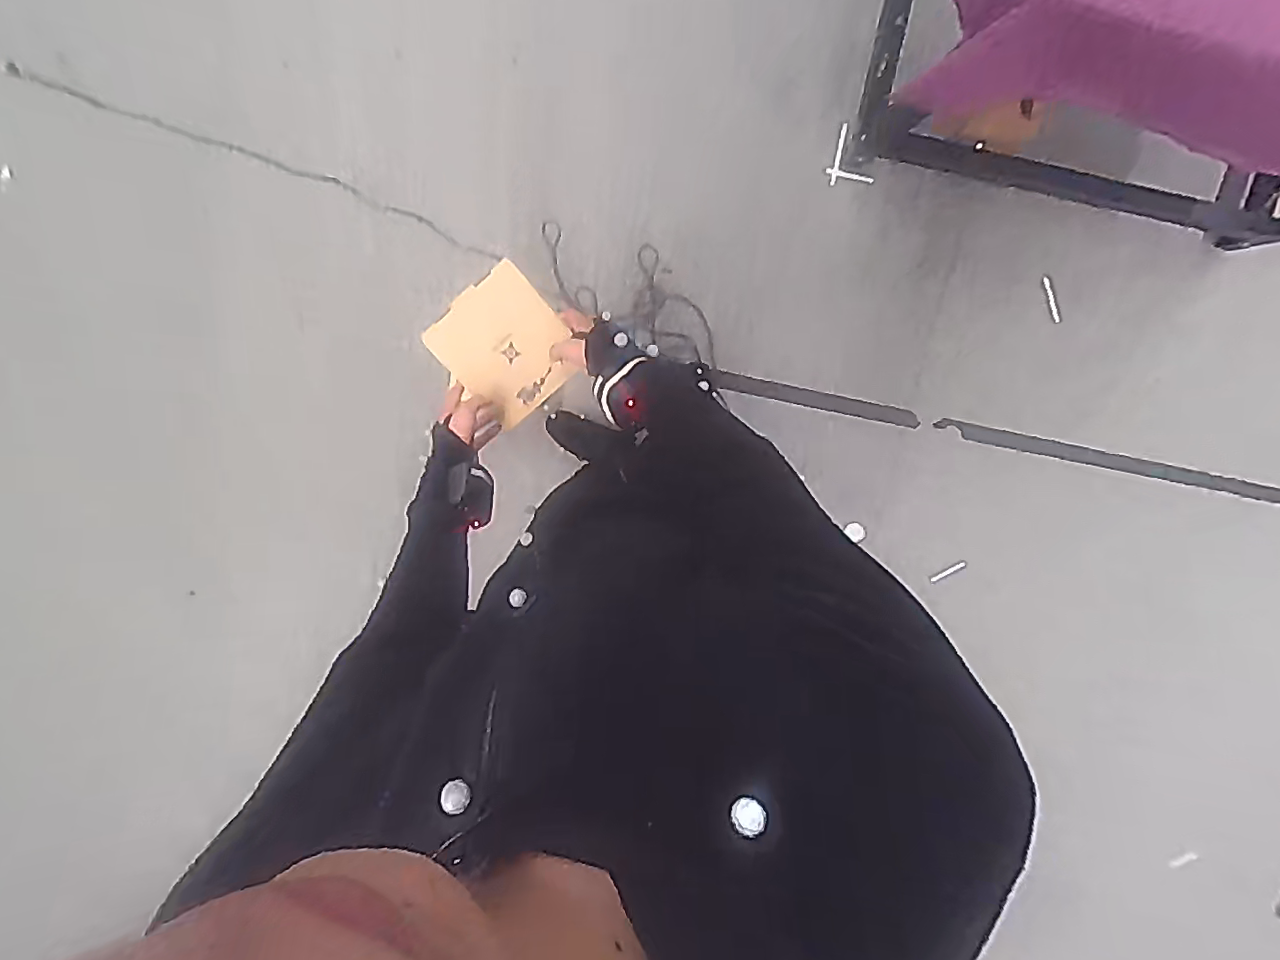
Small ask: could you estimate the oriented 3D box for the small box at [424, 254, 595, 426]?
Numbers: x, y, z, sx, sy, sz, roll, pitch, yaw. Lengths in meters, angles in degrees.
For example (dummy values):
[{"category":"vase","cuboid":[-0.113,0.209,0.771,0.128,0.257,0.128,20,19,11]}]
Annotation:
[{"category":"small box","cuboid":[-0.184,-0.206,0.822,0.168,0.176,0.179,-39,103,7]}]
